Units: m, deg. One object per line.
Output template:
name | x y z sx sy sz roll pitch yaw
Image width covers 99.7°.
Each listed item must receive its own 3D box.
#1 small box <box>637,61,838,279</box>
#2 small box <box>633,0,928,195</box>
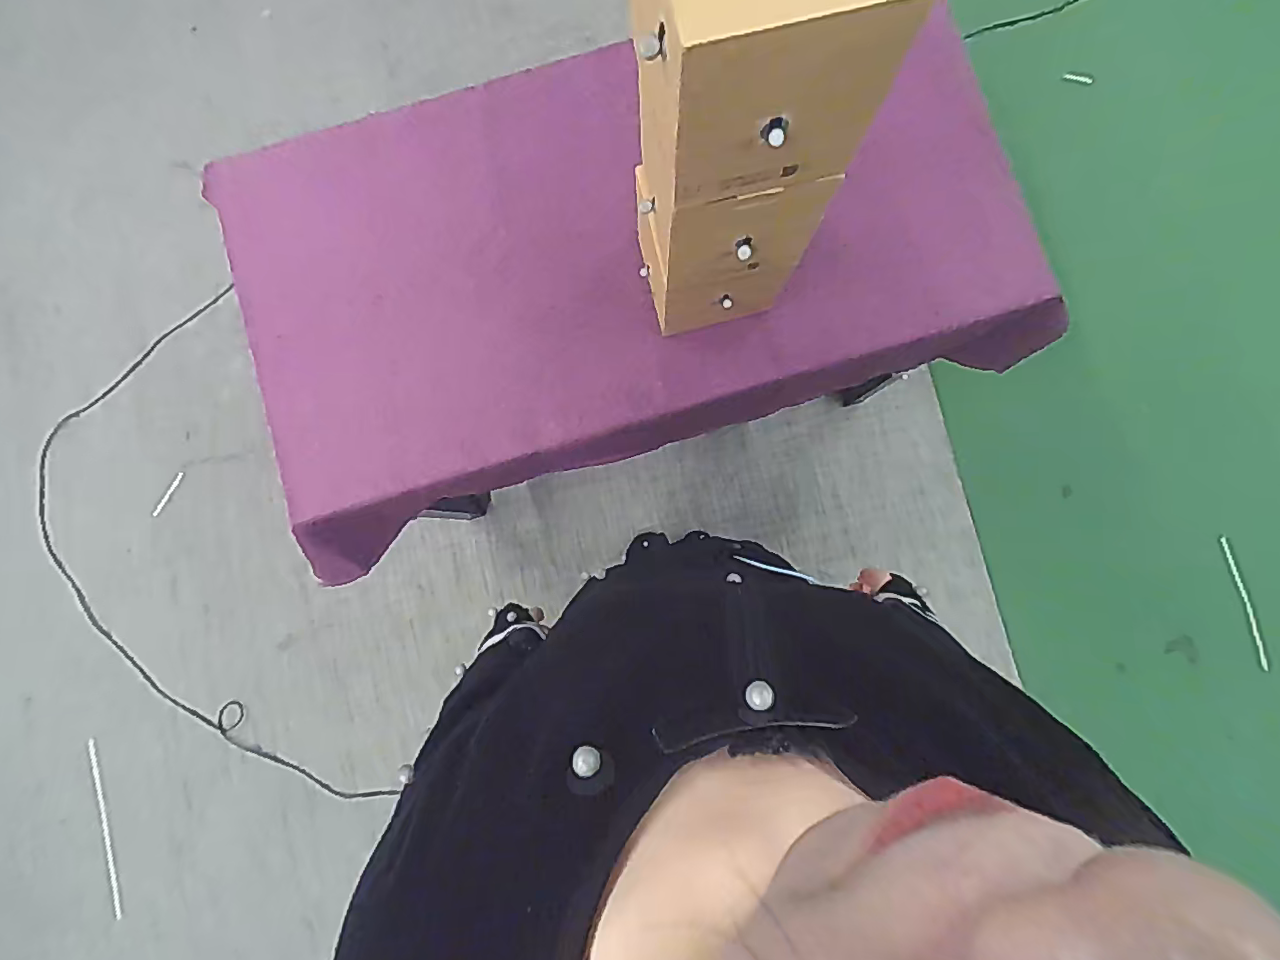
small box | 0.093 -0.338 0.588 0.168 0.176 0.179 -10 85 0
small box | 0.088 -0.353 0.423 0.168 0.176 0.179 -12 84 0
